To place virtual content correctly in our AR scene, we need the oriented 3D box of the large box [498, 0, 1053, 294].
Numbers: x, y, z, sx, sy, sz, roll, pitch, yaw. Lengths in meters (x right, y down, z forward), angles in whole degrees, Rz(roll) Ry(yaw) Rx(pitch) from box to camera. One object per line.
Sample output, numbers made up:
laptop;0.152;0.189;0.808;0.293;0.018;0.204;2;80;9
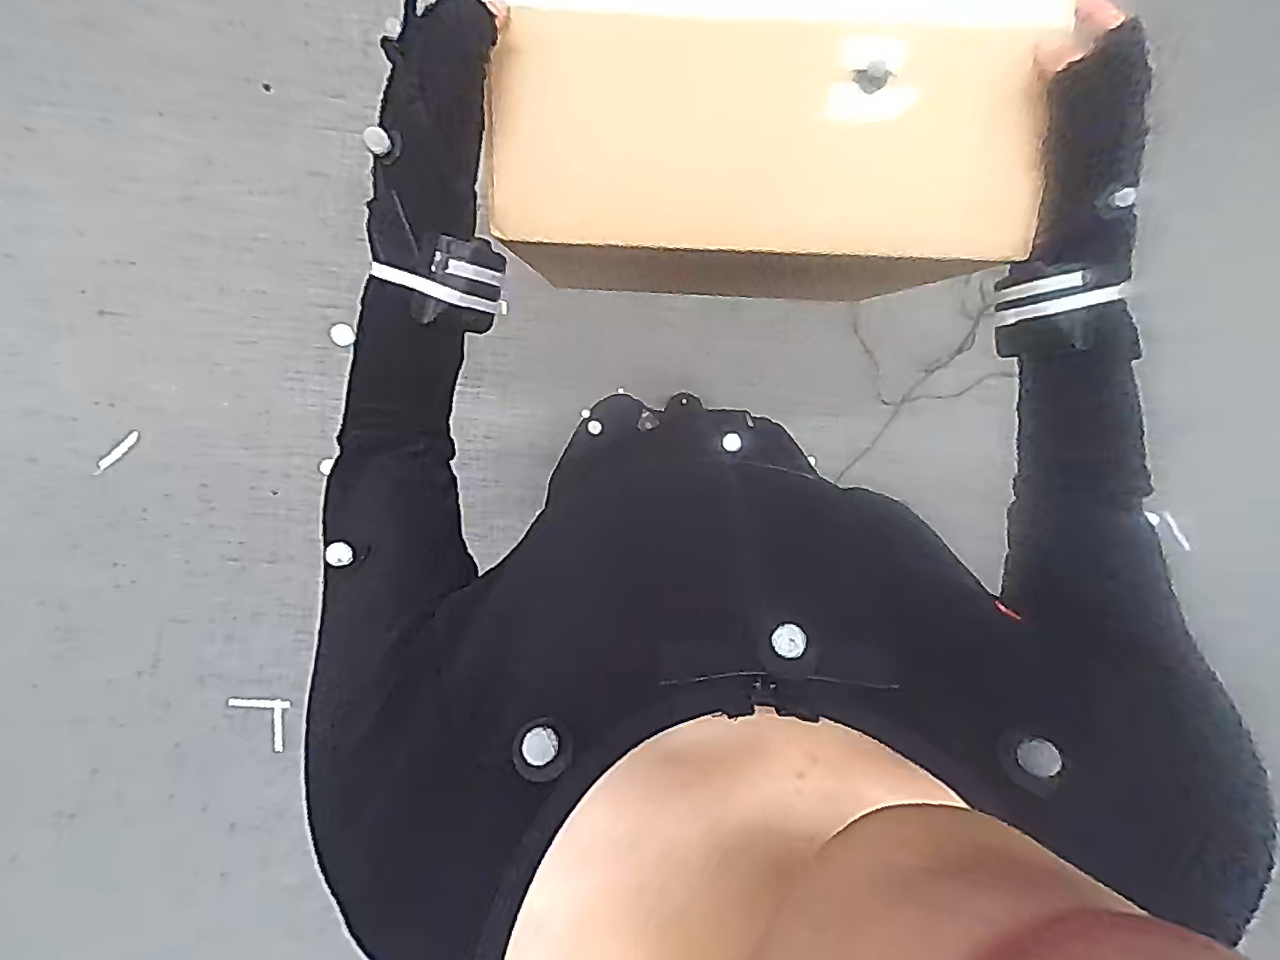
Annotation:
large box;0.092;-0.364;0.530;0.408;0.320;0.320;1;103;-1
